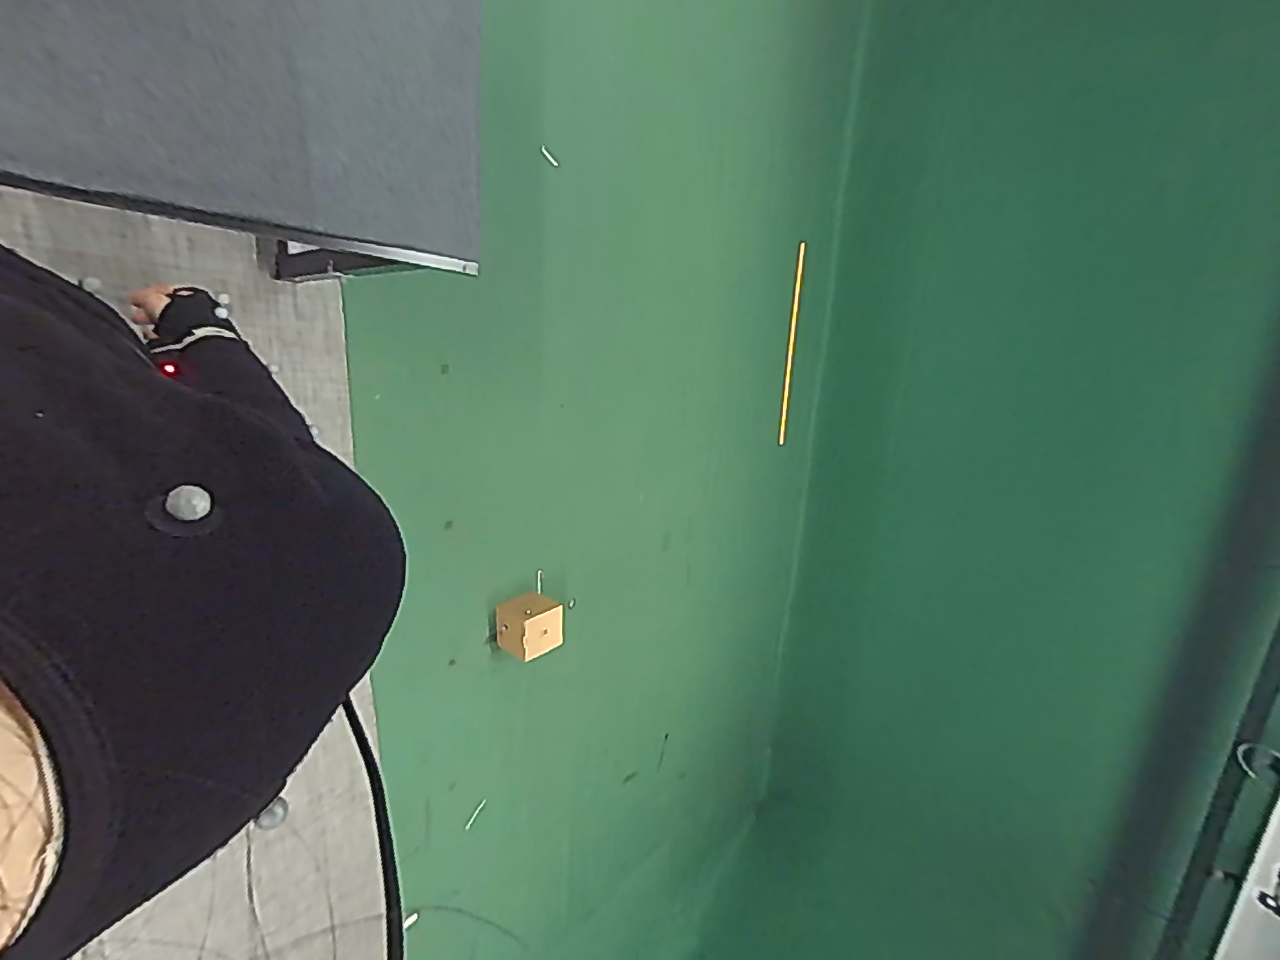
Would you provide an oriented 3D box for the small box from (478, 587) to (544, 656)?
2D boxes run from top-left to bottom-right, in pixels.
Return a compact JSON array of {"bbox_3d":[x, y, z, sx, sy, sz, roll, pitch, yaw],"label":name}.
[{"bbox_3d":[-0.476,0.515,2.001,0.179,0.176,0.168,-15,113,-50],"label":"small box"}]
